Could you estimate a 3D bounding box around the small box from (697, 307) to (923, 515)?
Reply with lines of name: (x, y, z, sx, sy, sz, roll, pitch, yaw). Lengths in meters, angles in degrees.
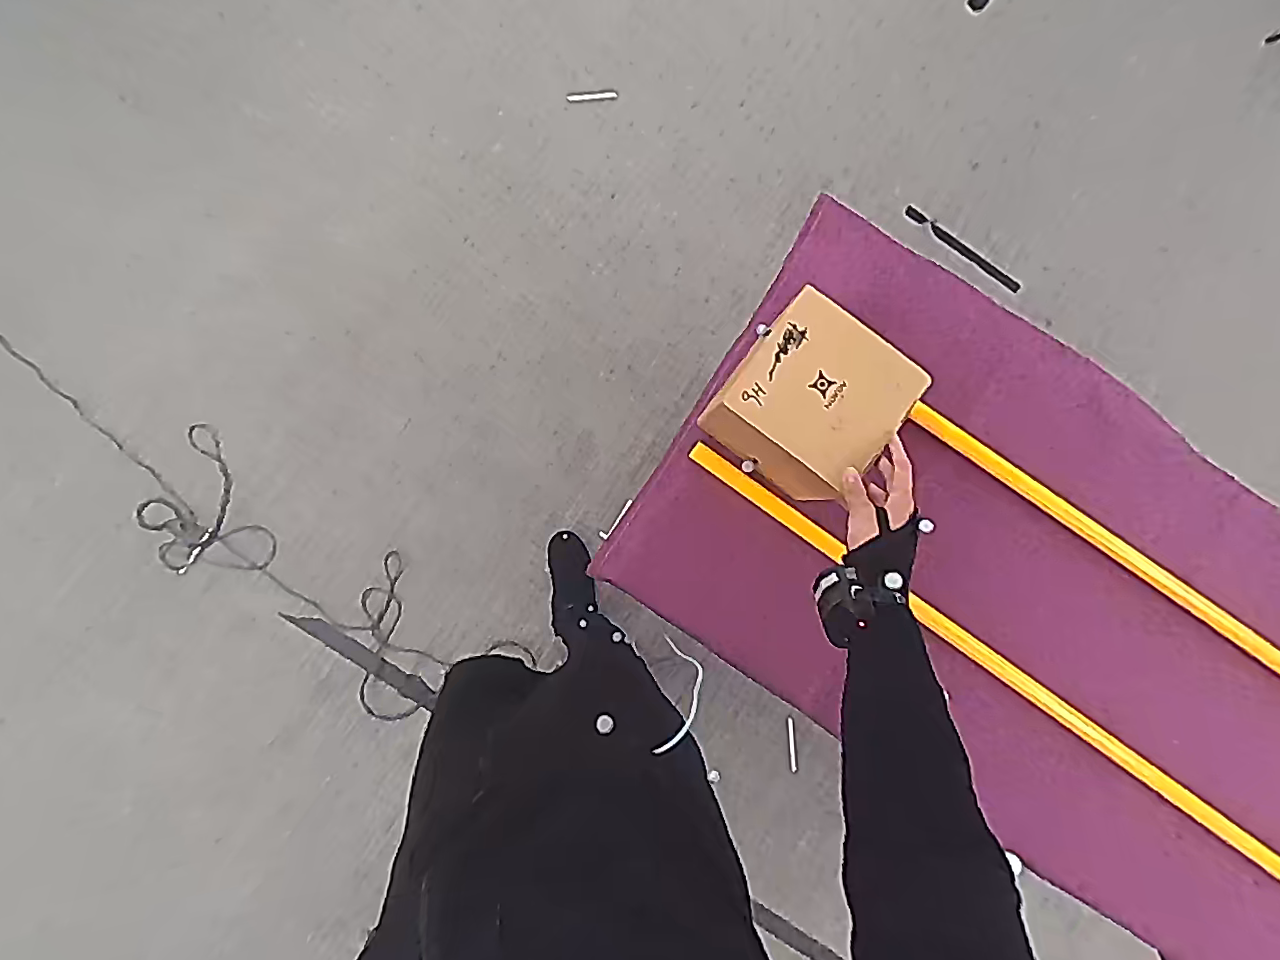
small box: (0.194, -0.076, 0.671, 0.179, 0.176, 0.168, 38, 86, -2)
